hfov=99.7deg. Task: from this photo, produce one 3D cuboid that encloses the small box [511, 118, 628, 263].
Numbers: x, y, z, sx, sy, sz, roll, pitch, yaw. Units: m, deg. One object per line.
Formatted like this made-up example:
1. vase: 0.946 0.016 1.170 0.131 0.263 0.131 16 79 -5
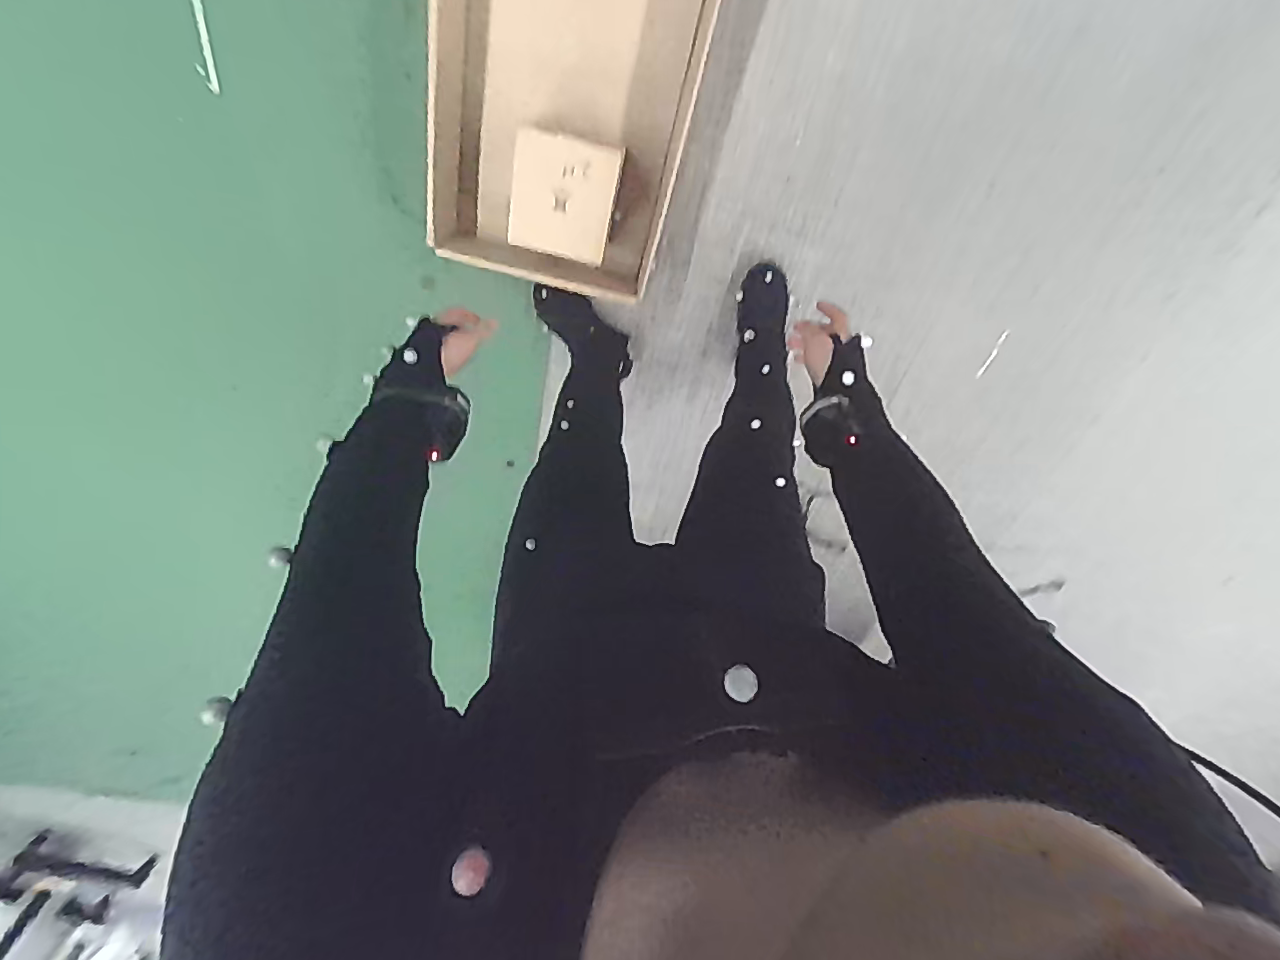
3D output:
1. small box: -0.118 -0.504 0.938 0.168 0.176 0.179 11 124 -8
